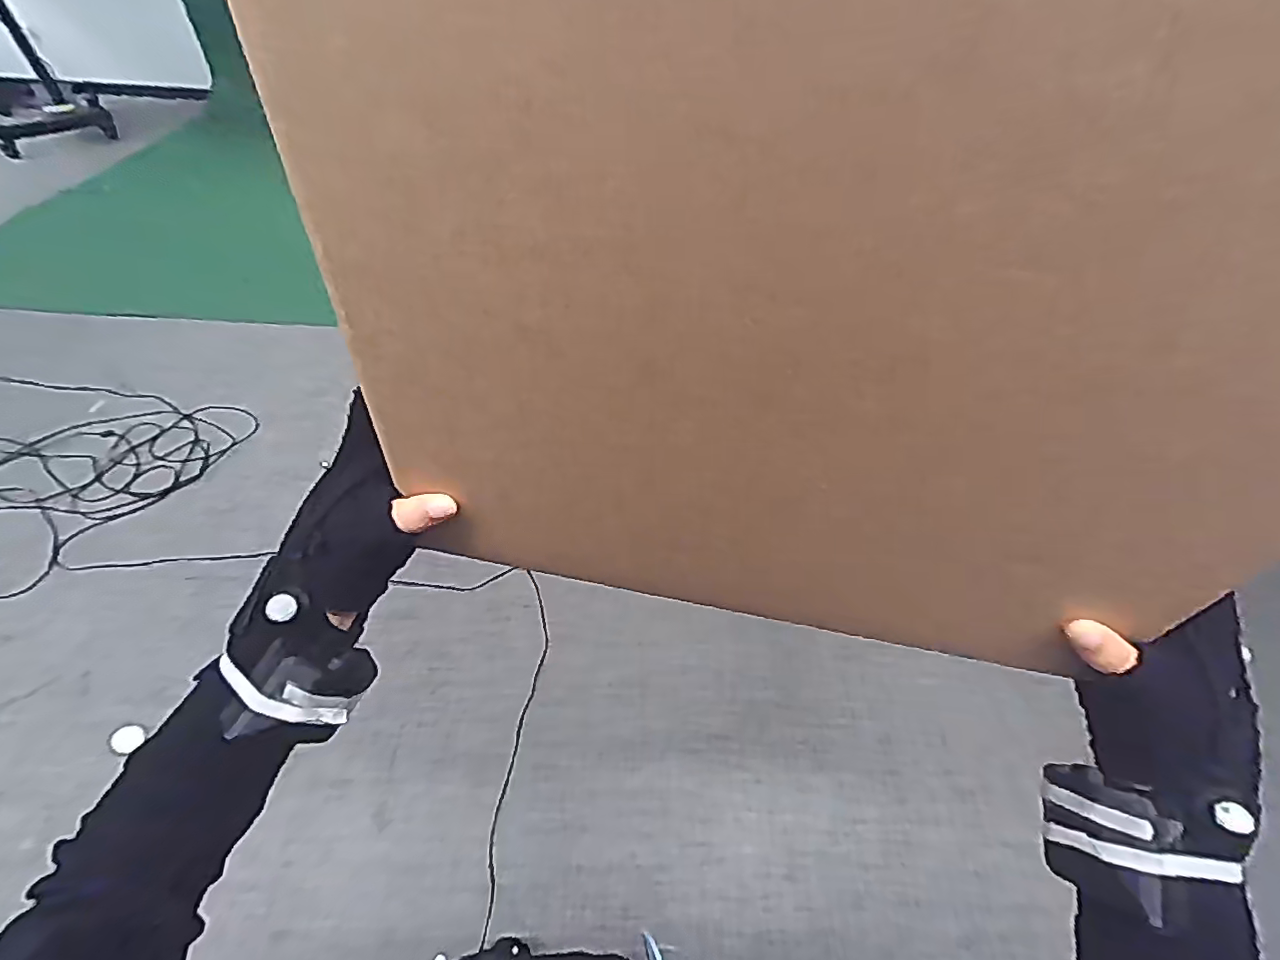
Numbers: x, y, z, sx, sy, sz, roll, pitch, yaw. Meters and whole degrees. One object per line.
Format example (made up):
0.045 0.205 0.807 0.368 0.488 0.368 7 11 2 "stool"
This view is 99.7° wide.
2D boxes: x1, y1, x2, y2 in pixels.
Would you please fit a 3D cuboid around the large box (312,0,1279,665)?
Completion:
0.107 -0.130 0.324 0.408 0.320 0.320 11 46 1 "large box"
